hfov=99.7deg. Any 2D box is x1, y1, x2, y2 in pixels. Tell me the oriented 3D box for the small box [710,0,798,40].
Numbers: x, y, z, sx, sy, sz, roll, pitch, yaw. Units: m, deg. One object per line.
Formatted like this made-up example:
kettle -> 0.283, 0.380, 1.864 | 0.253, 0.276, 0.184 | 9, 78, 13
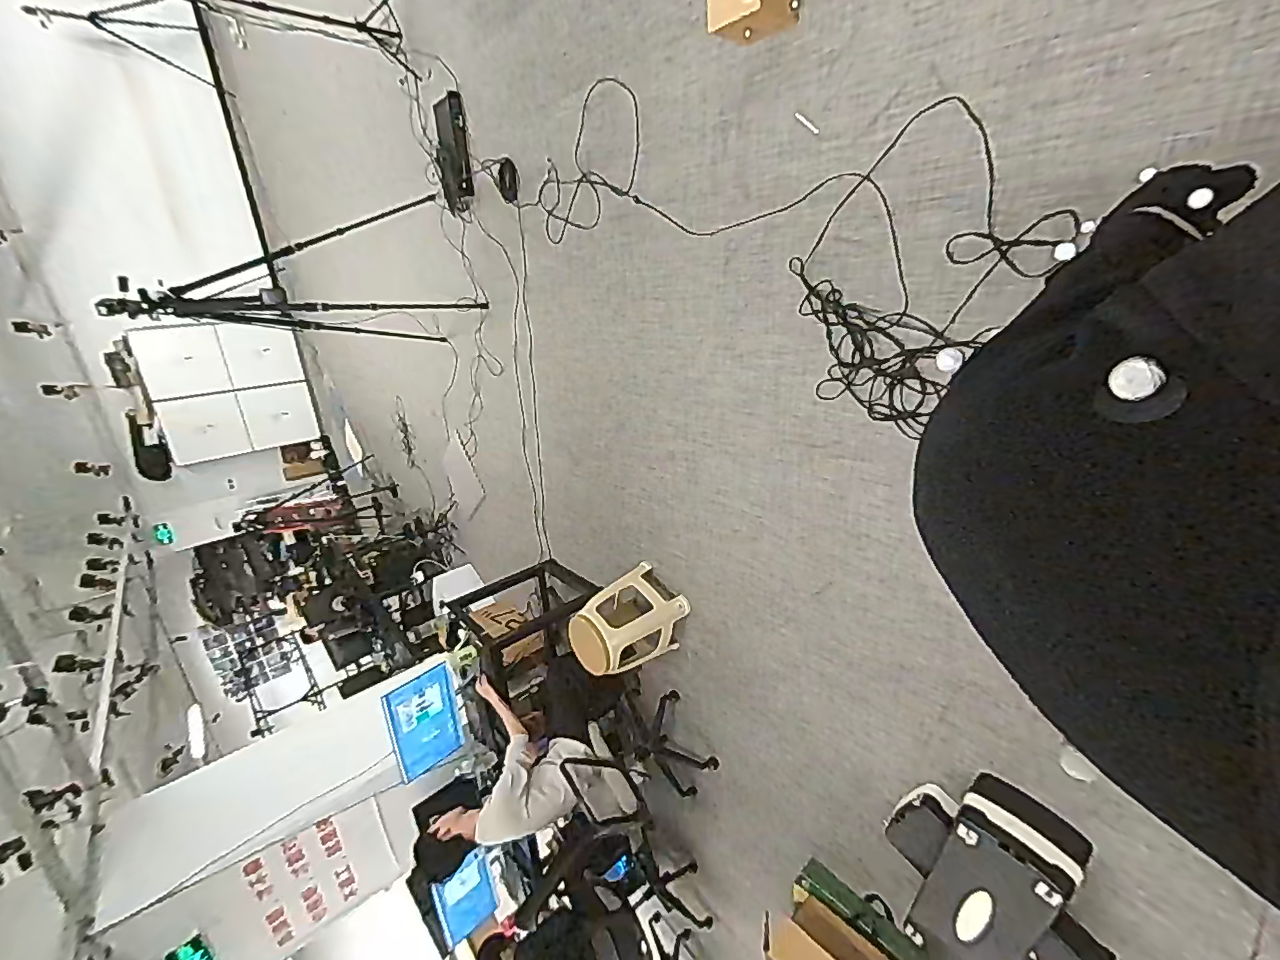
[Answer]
small box -> 0.303, -1.297, 1.419 | 0.179, 0.176, 0.168 | 20, 121, 47
